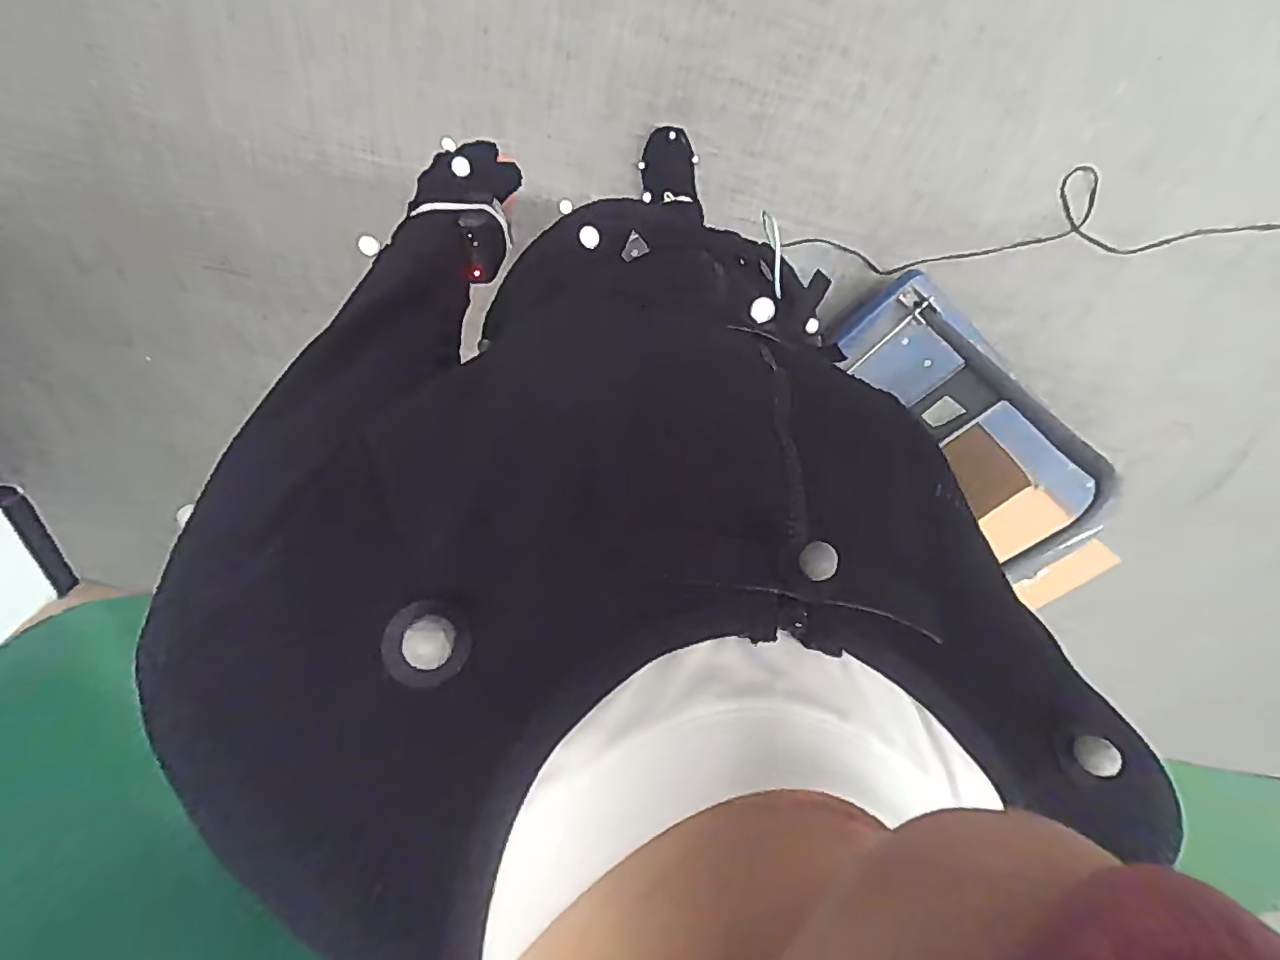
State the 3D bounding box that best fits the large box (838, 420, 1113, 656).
[{"bbox_3d":[0.759,0.139,1.299,0.320,0.320,0.408,32,119,-17],"label":"large box"}]
